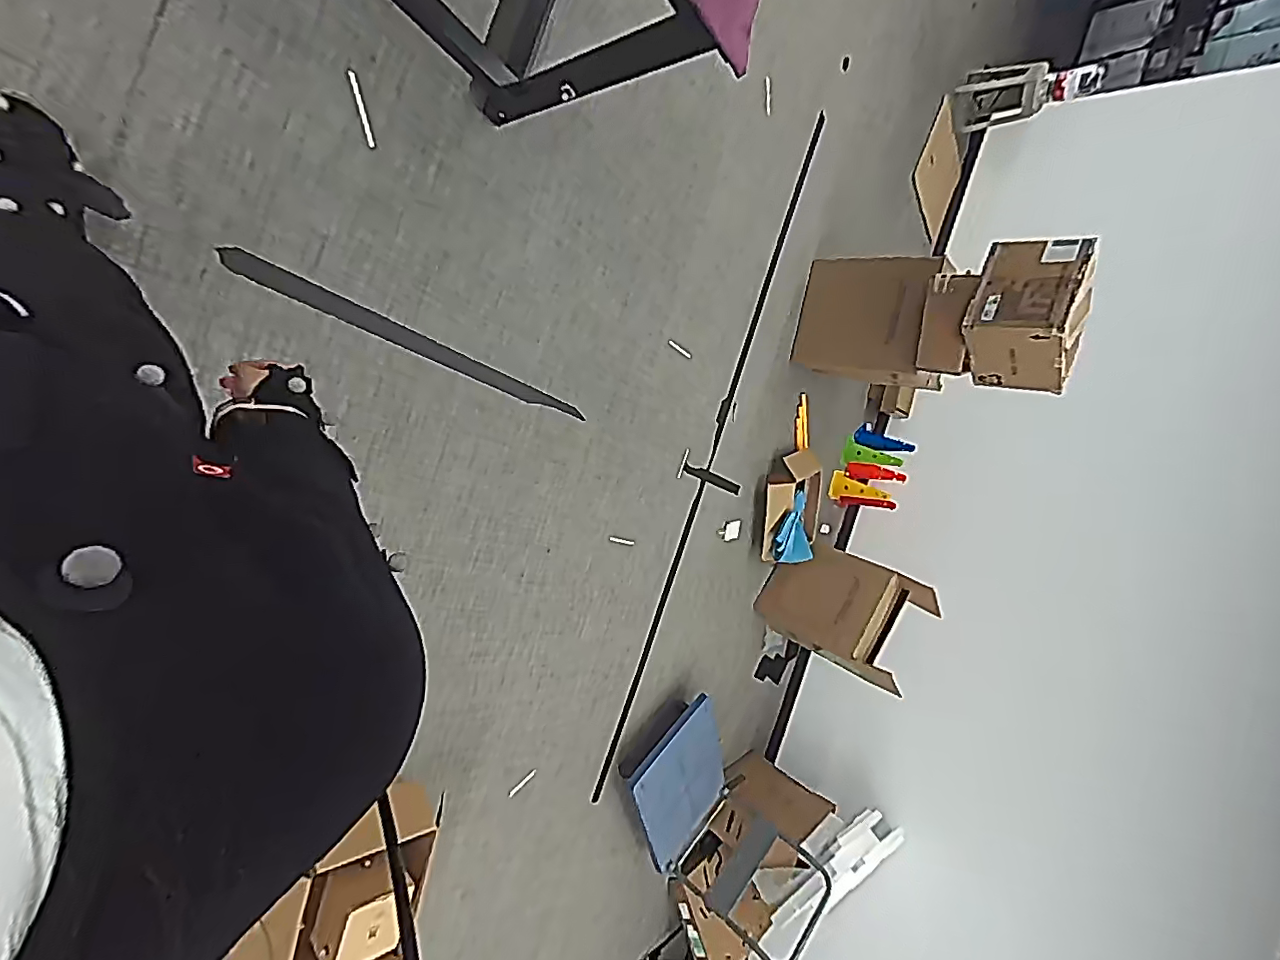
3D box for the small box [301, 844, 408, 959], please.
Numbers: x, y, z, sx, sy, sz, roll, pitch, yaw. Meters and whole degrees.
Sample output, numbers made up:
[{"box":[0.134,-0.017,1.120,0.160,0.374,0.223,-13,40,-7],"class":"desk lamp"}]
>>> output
[{"box":[-0.722,1.073,1.360,0.168,0.176,0.179,17,90,-51],"class":"small box"}]
